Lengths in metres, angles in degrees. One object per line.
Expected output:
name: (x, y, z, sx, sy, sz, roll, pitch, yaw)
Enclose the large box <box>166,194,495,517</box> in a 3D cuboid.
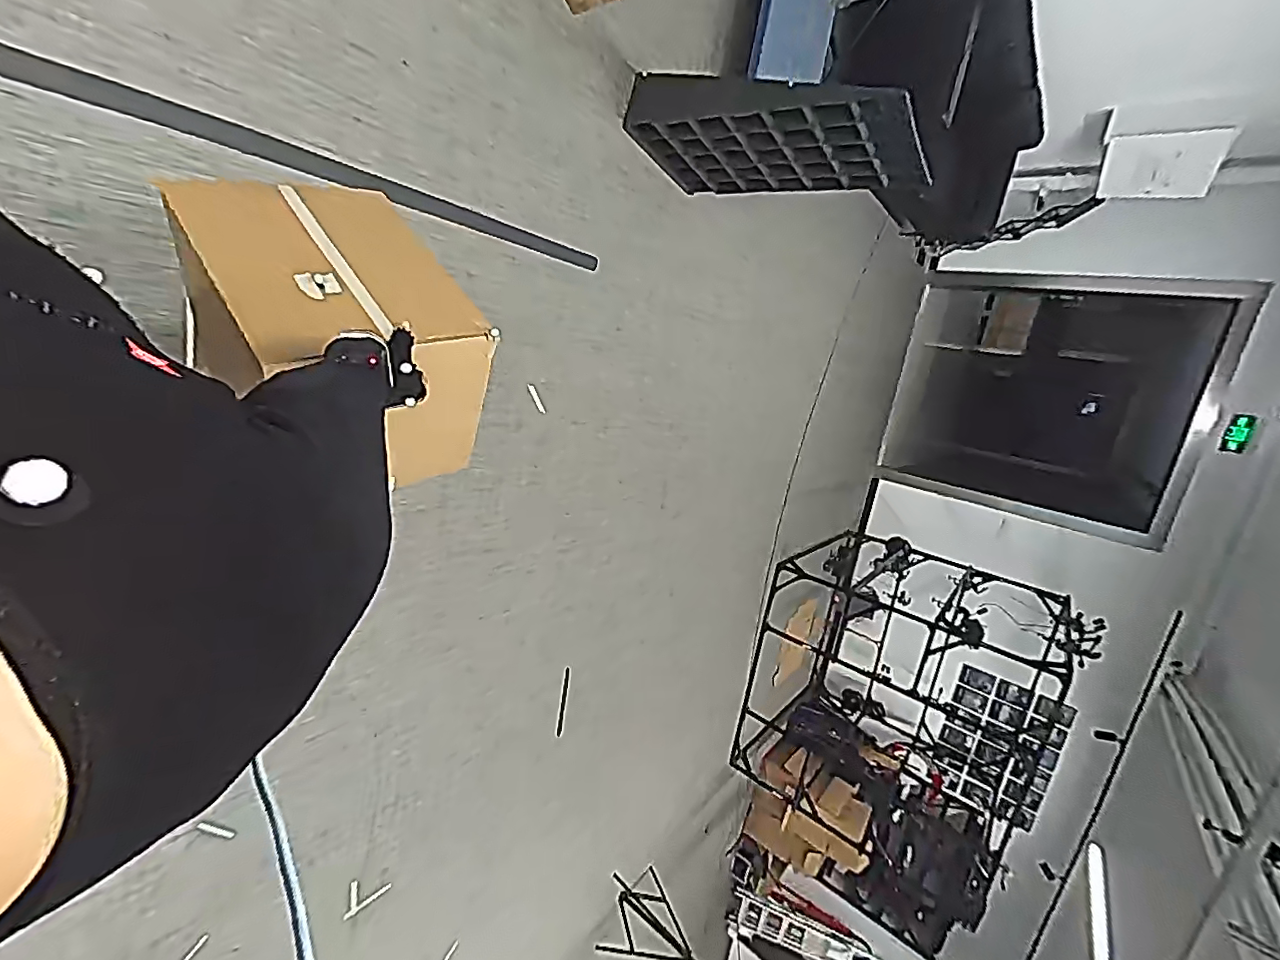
large box: (-0.510, -0.215, 0.909, 0.320, 0.408, 0.320, -23, 155, -40)
